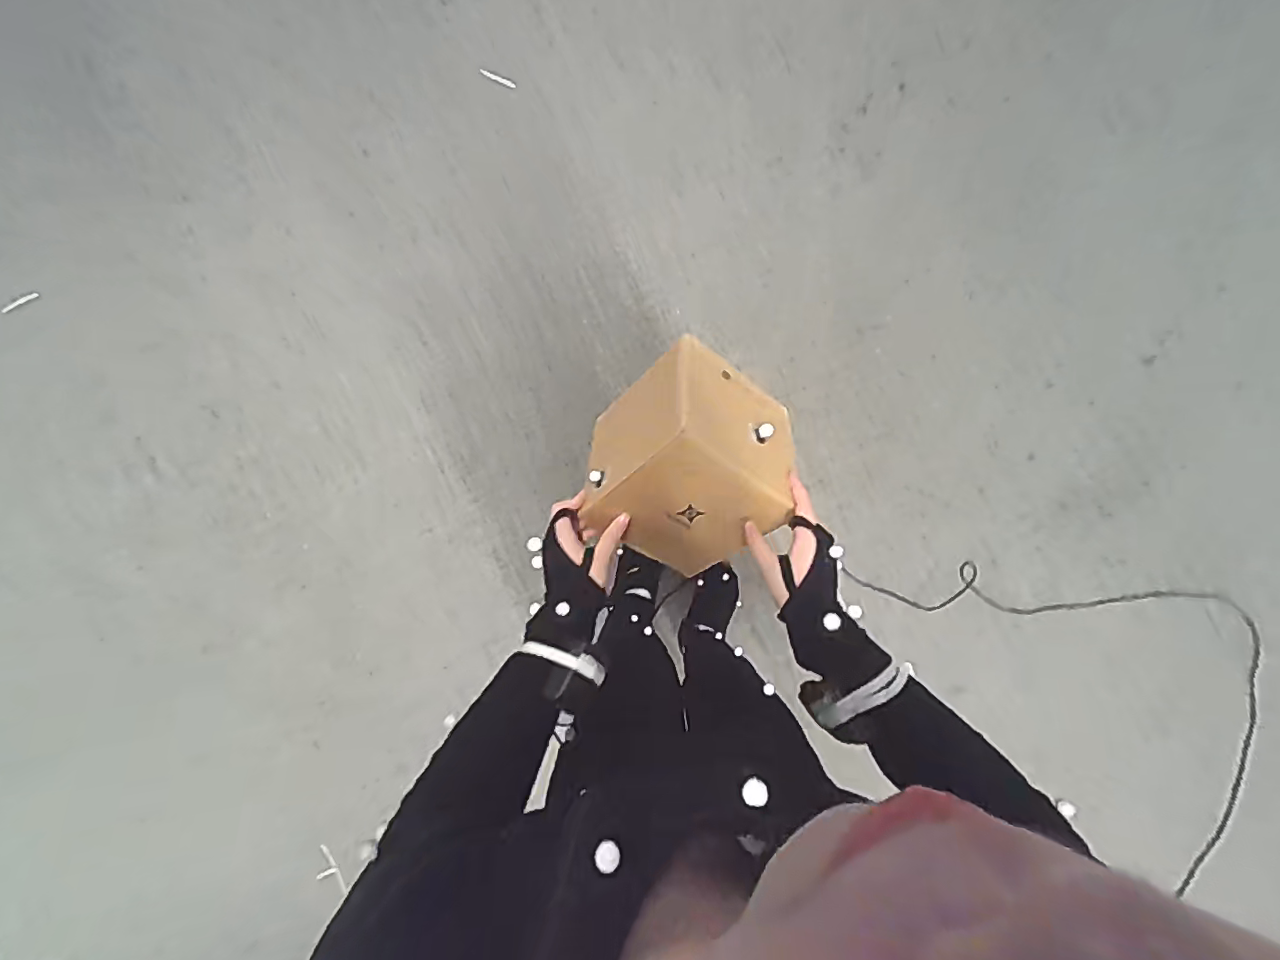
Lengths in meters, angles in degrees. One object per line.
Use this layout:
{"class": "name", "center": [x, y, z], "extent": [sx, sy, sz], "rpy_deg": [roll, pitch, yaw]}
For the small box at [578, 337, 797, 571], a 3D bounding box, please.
{"class": "small box", "center": [0.051, -0.028, 0.619], "extent": [0.168, 0.176, 0.179], "rpy_deg": [30, 134, -24]}
